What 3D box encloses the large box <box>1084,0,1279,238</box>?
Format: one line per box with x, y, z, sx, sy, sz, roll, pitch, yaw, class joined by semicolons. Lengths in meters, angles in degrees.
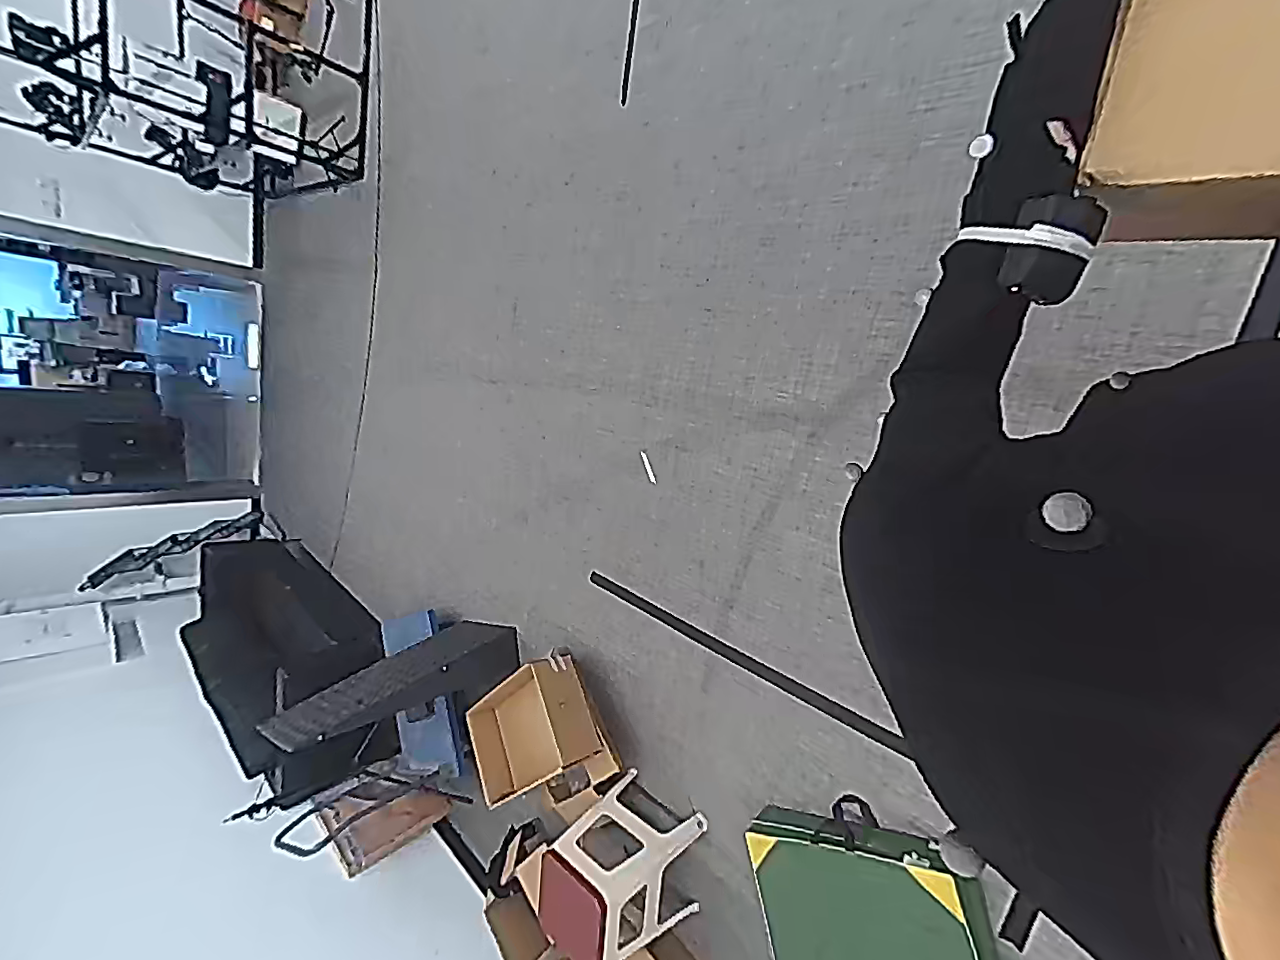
0.579;-0.348;0.345;0.408;0.320;0.320;18;113;38;large box
